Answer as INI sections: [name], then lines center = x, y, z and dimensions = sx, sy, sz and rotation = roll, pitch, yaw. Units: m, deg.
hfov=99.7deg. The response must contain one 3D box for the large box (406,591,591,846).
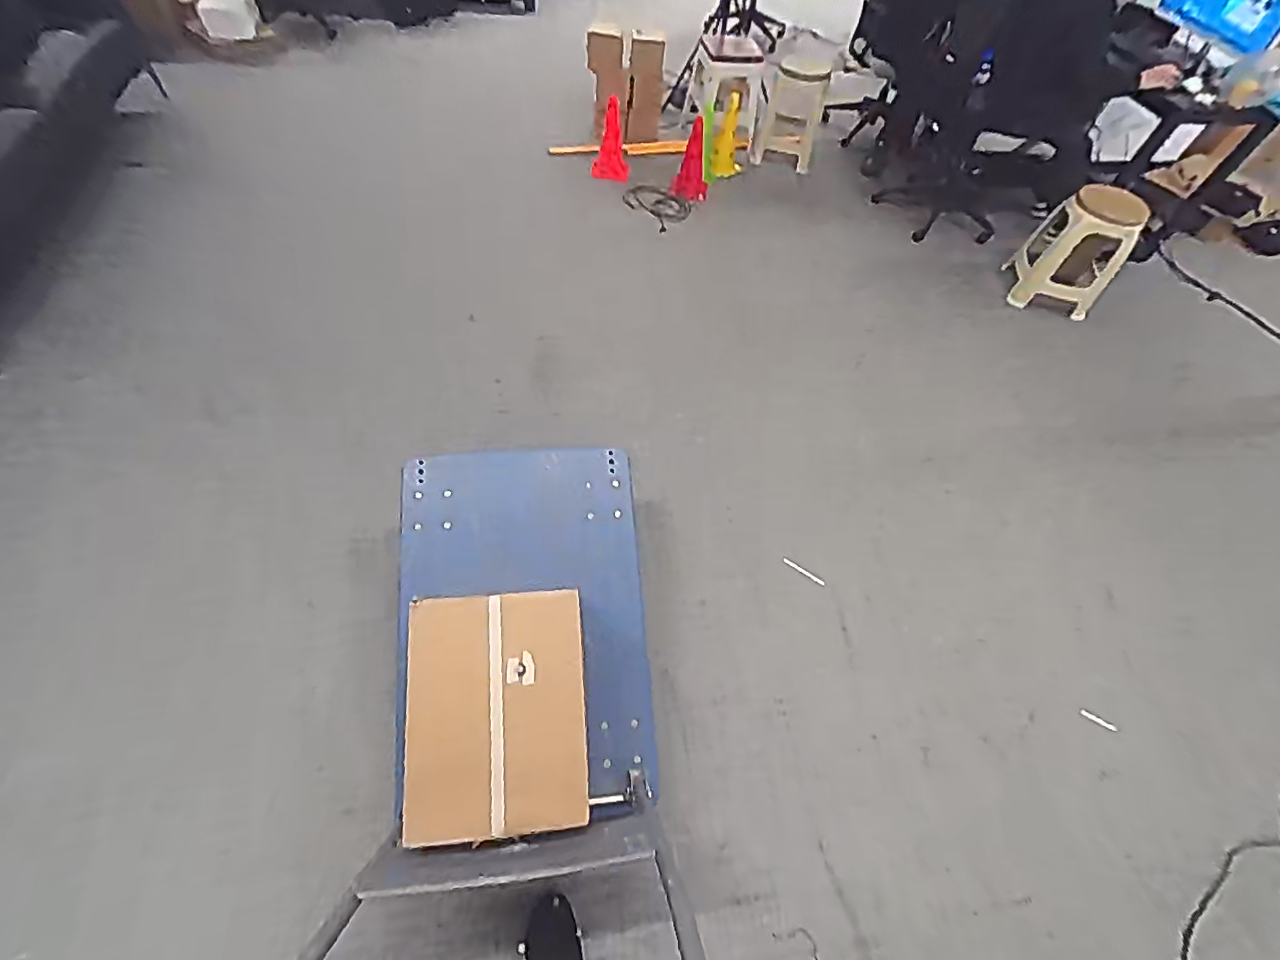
[large box]
center = -0.271, 0.455, 1.112
dimensions = 0.320, 0.320, 0.408
rotation = -3, 74, -8
